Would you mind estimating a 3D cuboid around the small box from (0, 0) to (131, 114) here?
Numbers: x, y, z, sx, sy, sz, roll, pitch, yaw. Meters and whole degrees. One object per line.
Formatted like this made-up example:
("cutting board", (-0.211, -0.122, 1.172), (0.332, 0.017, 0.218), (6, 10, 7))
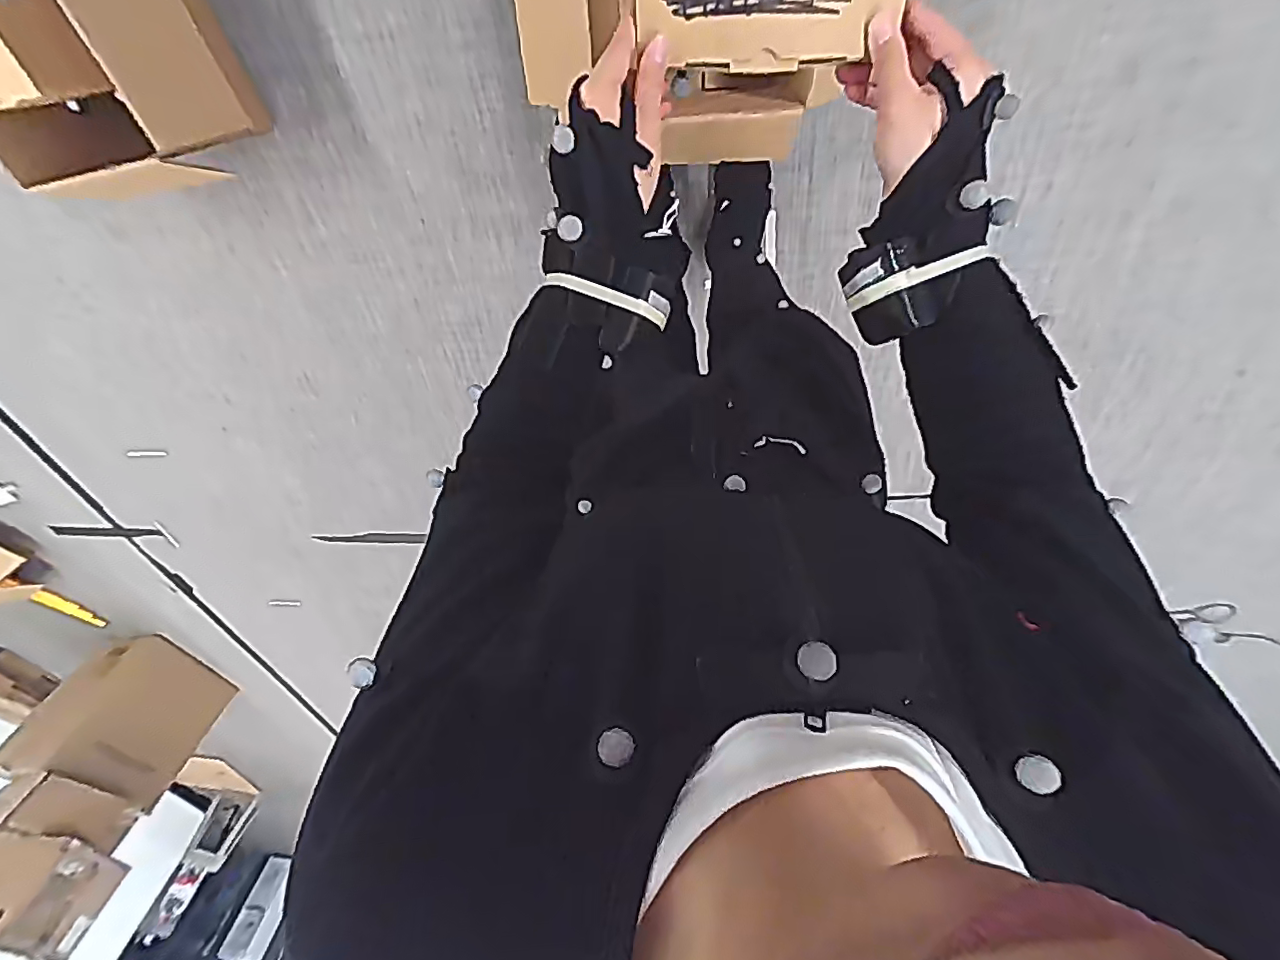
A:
("small box", (-0.973, -0.684, 0.834), (0.168, 0.176, 0.179), (-3, 130, 12))
